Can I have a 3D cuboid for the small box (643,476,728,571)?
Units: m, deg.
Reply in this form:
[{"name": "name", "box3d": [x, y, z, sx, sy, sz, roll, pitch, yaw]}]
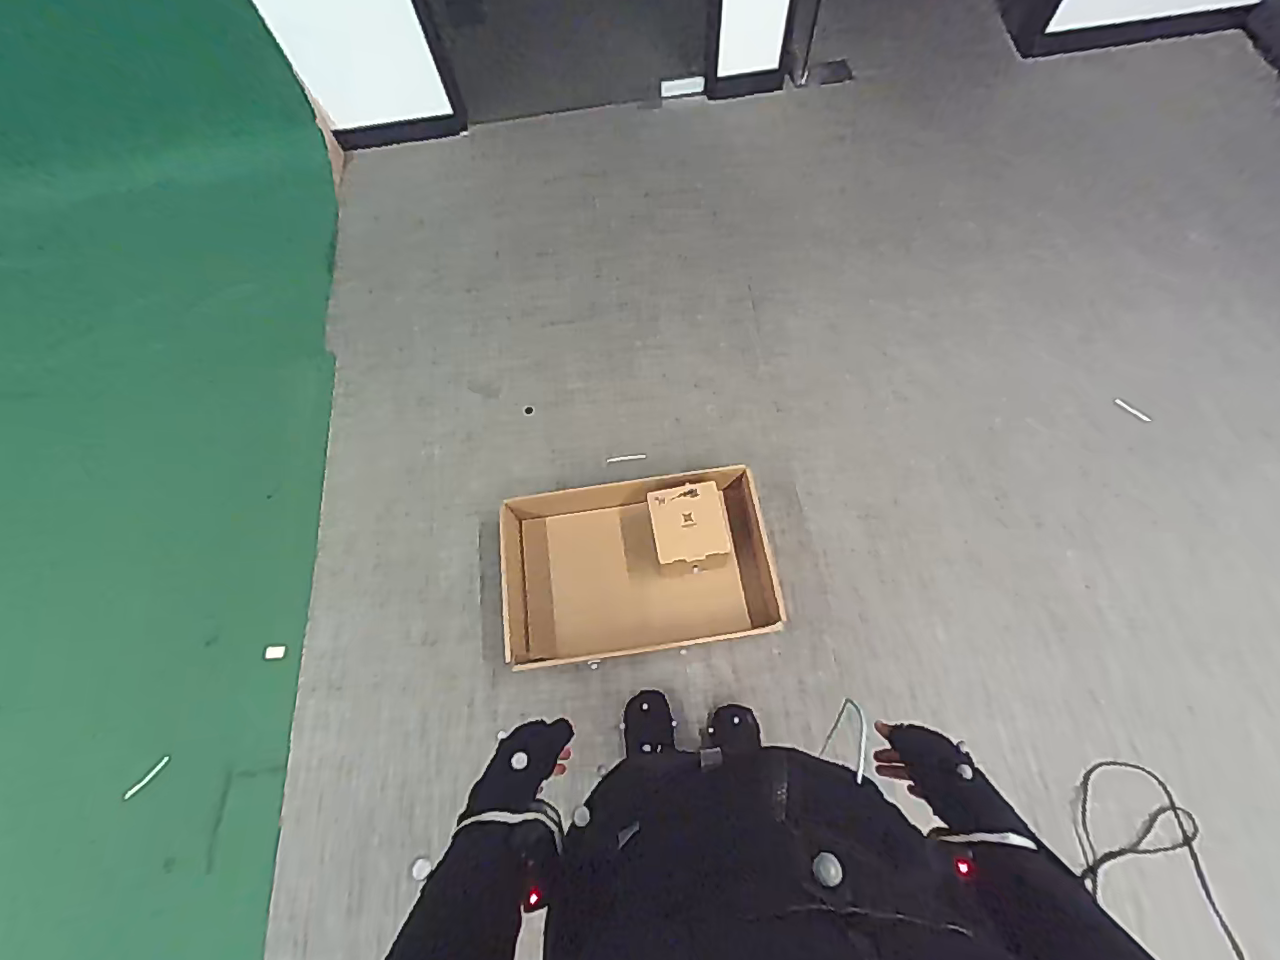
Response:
[{"name": "small box", "box3d": [0.110, 0.114, 1.310, 0.168, 0.176, 0.179, -13, 68, 0]}]
